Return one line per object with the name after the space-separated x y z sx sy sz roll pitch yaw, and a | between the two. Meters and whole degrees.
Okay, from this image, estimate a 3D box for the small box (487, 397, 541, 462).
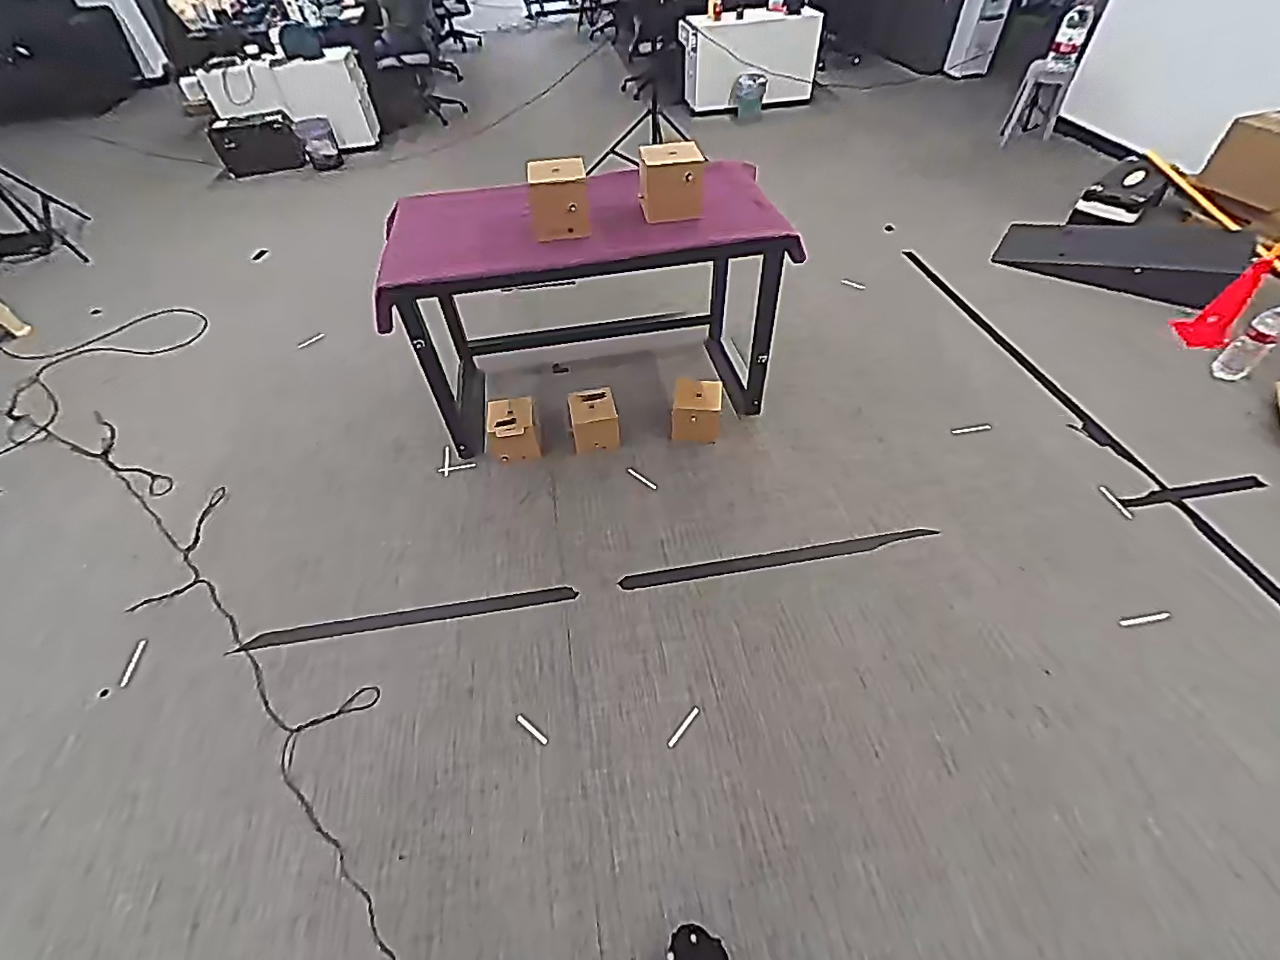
-0.470 -0.184 2.037 0.168 0.176 0.179 -8 48 -4 | small box

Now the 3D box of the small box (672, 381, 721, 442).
0.217 -0.259 2.065 0.179 0.176 0.168 3 50 7 | small box

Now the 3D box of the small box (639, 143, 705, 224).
0.095 -0.914 1.670 0.179 0.176 0.168 -8 49 -3 | small box

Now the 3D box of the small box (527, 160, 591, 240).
-0.242 -0.837 1.625 0.168 0.176 0.179 -8 47 -5 | small box
